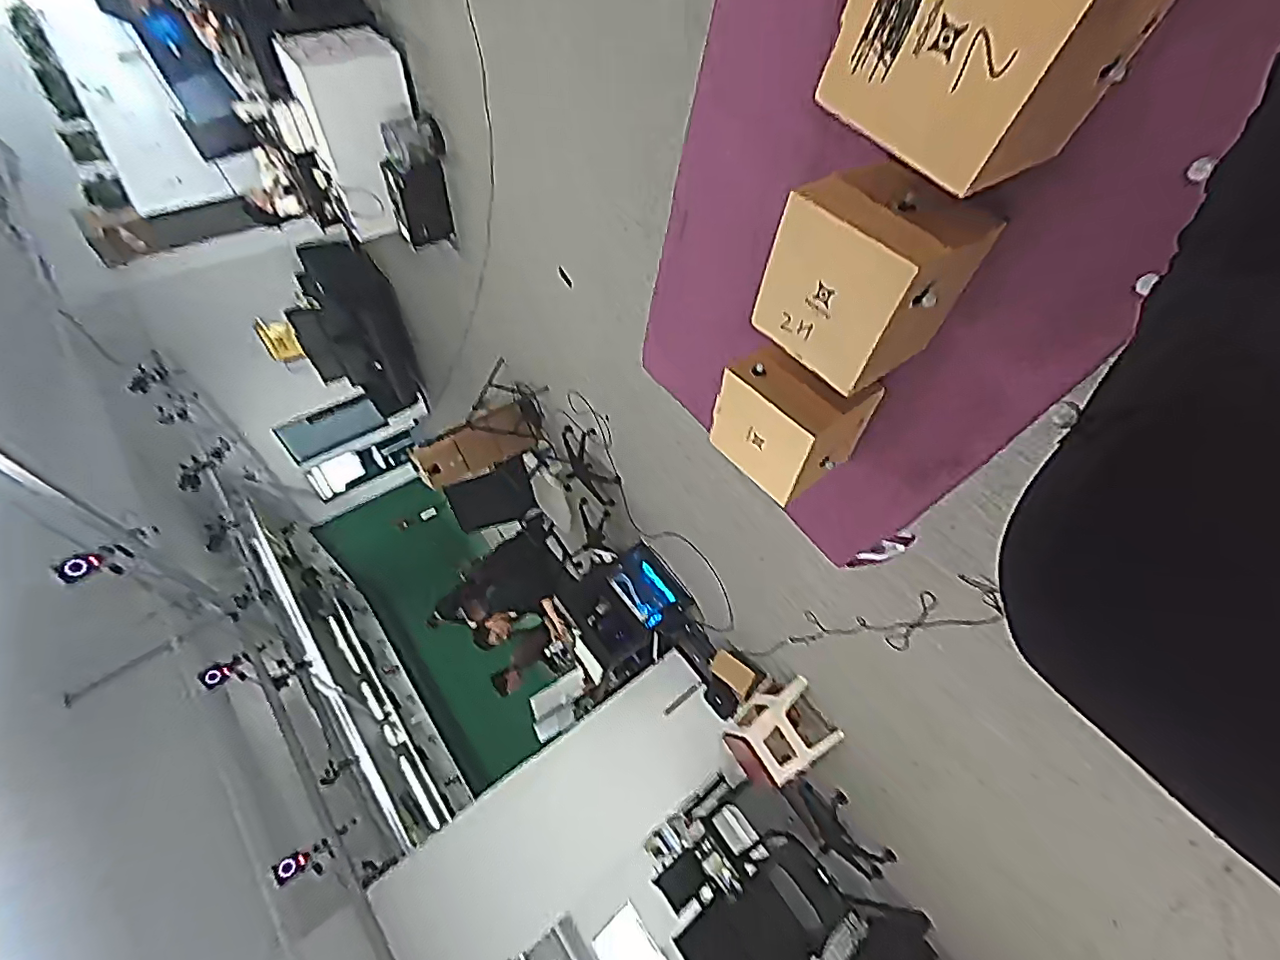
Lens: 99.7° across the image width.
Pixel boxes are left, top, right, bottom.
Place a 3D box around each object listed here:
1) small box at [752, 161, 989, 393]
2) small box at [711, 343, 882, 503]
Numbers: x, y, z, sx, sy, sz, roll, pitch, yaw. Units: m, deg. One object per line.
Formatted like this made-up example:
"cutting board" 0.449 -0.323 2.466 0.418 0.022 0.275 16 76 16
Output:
"small box" 0.265 -0.242 0.635 0.168 0.176 0.179 48 154 25
"small box" 0.240 -0.102 0.850 0.179 0.176 0.168 46 153 28
